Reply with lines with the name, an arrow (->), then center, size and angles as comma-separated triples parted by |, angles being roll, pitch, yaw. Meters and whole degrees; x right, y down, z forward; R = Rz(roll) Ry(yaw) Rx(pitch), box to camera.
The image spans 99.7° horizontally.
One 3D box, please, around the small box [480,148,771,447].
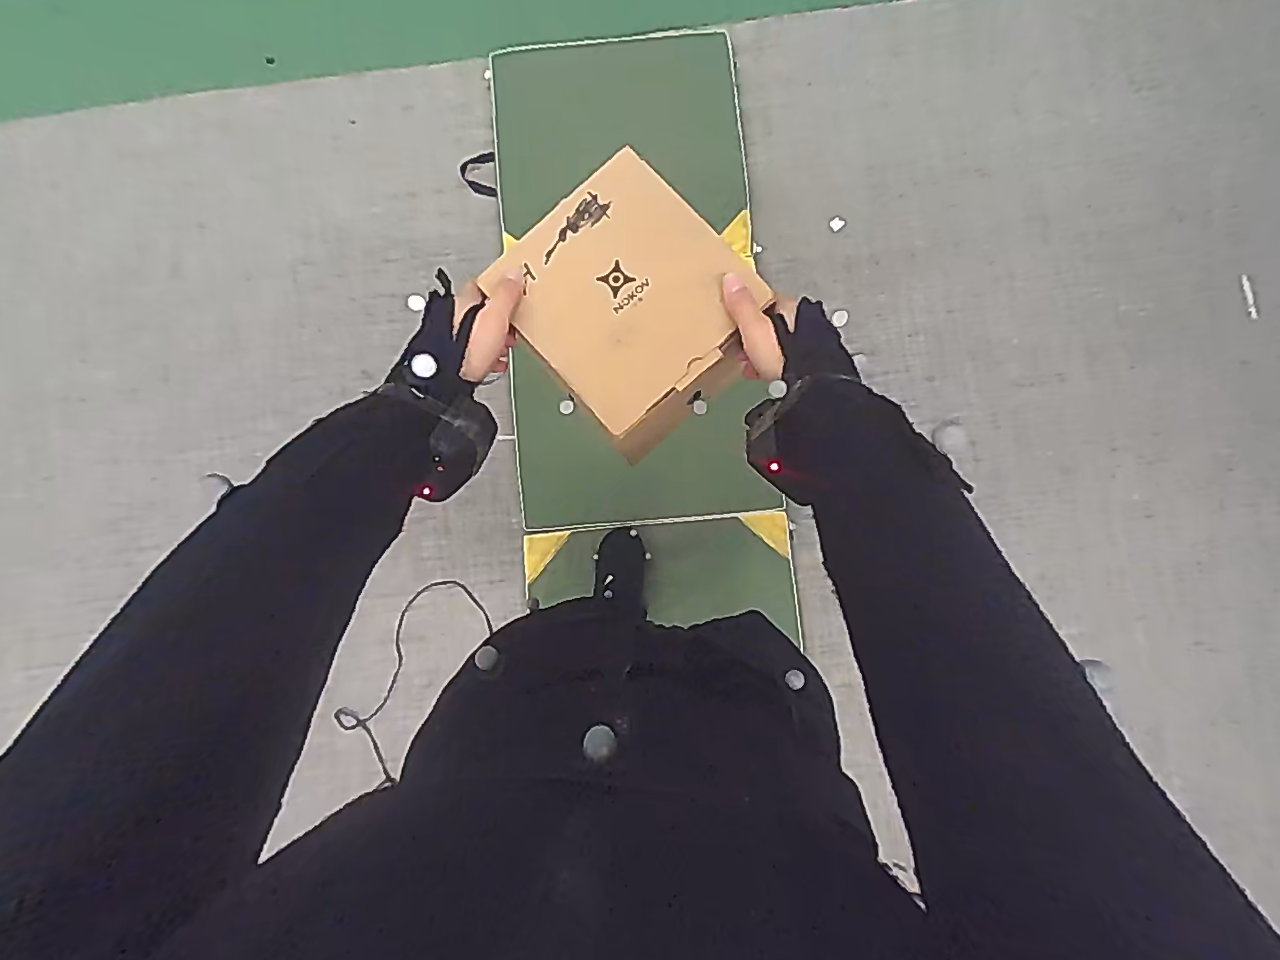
small box -> -0.009, -0.145, 0.504 | 0.168, 0.176, 0.179 | -42, 84, -1
